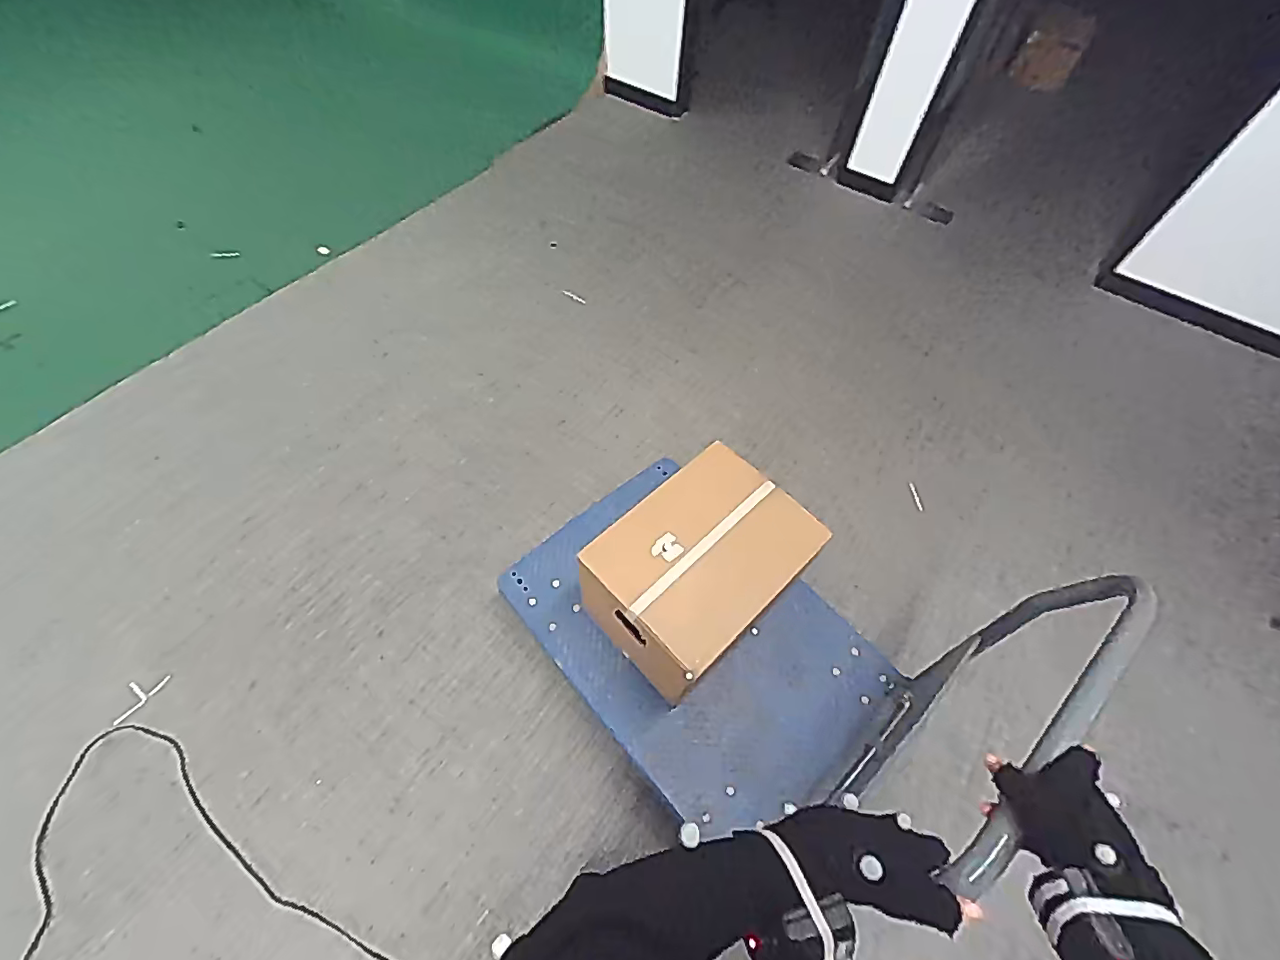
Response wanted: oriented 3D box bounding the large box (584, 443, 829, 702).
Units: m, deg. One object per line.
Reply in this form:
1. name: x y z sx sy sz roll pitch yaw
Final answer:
1. large box: 0.129 0.204 1.177 0.408 0.320 0.320 -40 68 -23
